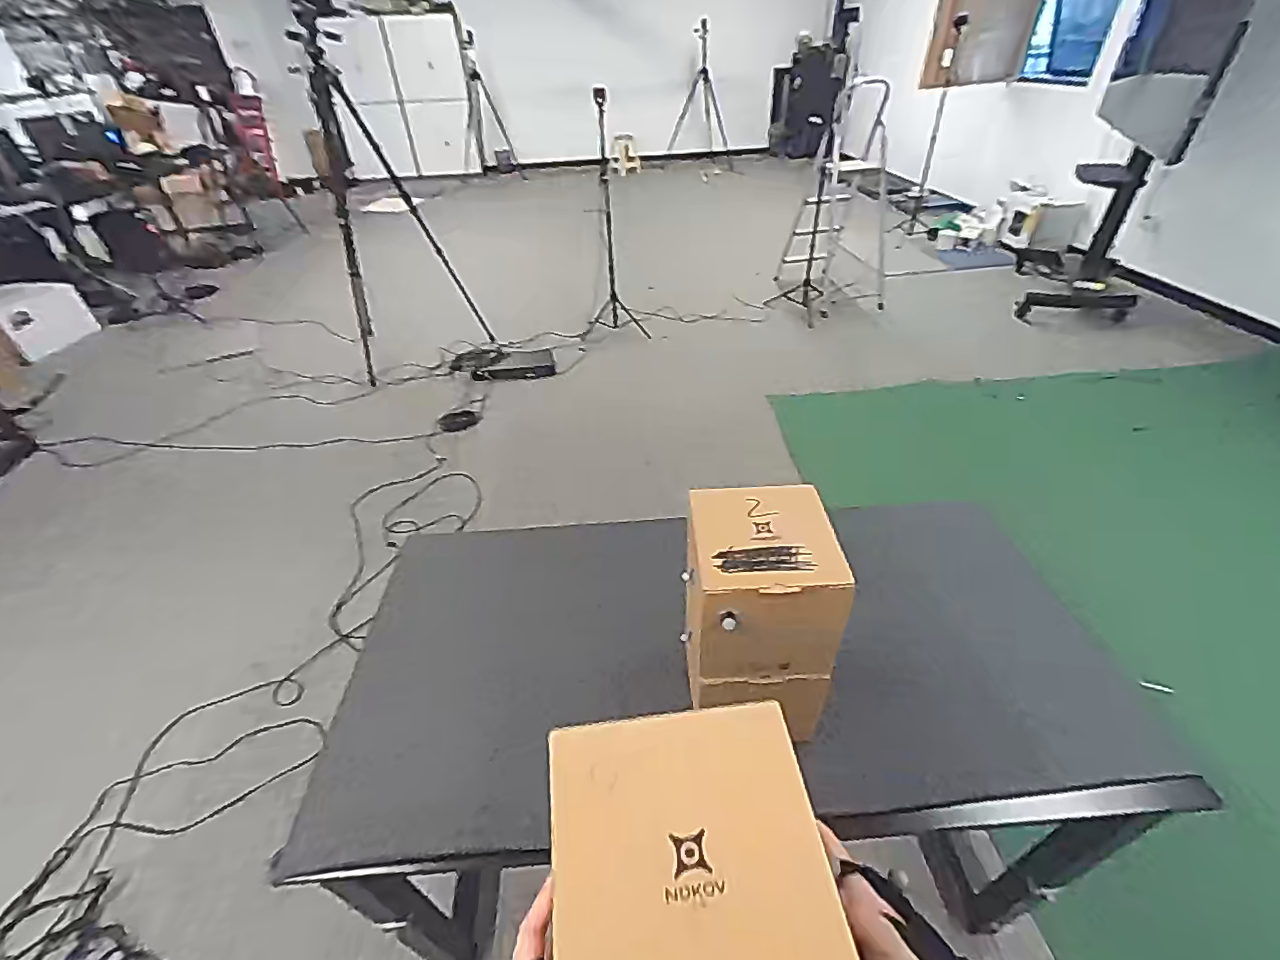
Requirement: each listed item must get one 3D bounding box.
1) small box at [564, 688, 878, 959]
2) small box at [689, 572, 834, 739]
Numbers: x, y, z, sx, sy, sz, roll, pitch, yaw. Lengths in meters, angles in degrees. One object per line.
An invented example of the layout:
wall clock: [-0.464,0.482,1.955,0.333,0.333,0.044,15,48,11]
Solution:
small box: [0.035,0.272,0.377,0.168,0.176,0.179,-5,46,-6]
small box: [0.162,0.256,0.787,0.168,0.176,0.179,-4,38,0]
